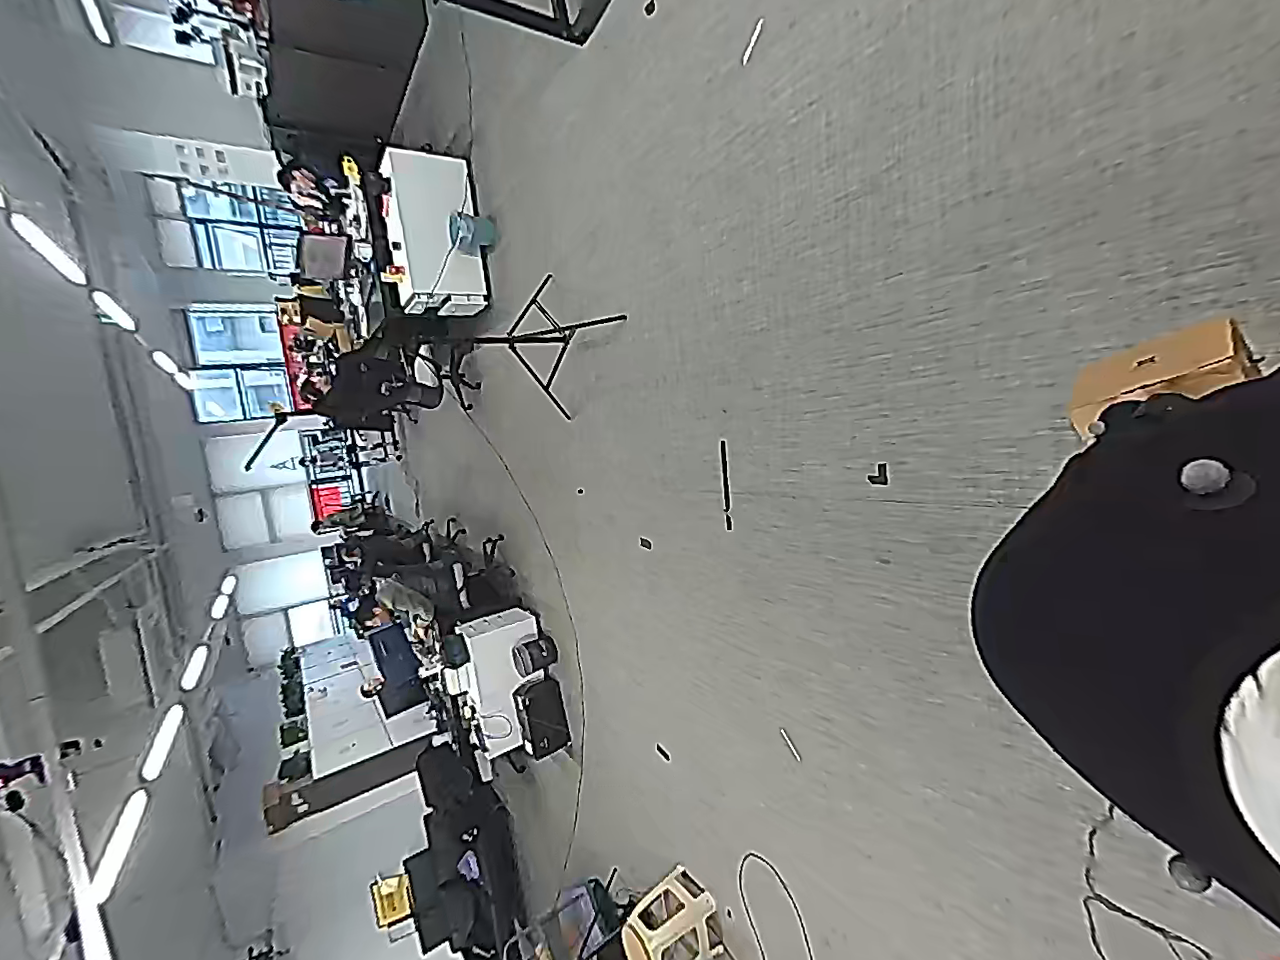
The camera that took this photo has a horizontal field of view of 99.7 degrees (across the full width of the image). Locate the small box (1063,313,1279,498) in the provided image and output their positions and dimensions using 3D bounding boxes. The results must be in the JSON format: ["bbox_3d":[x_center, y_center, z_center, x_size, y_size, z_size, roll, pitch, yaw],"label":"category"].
[{"bbox_3d":[0.723,-0.090,0.736,0.176,0.179,0.168,56,143,-6],"label":"small box"}]
